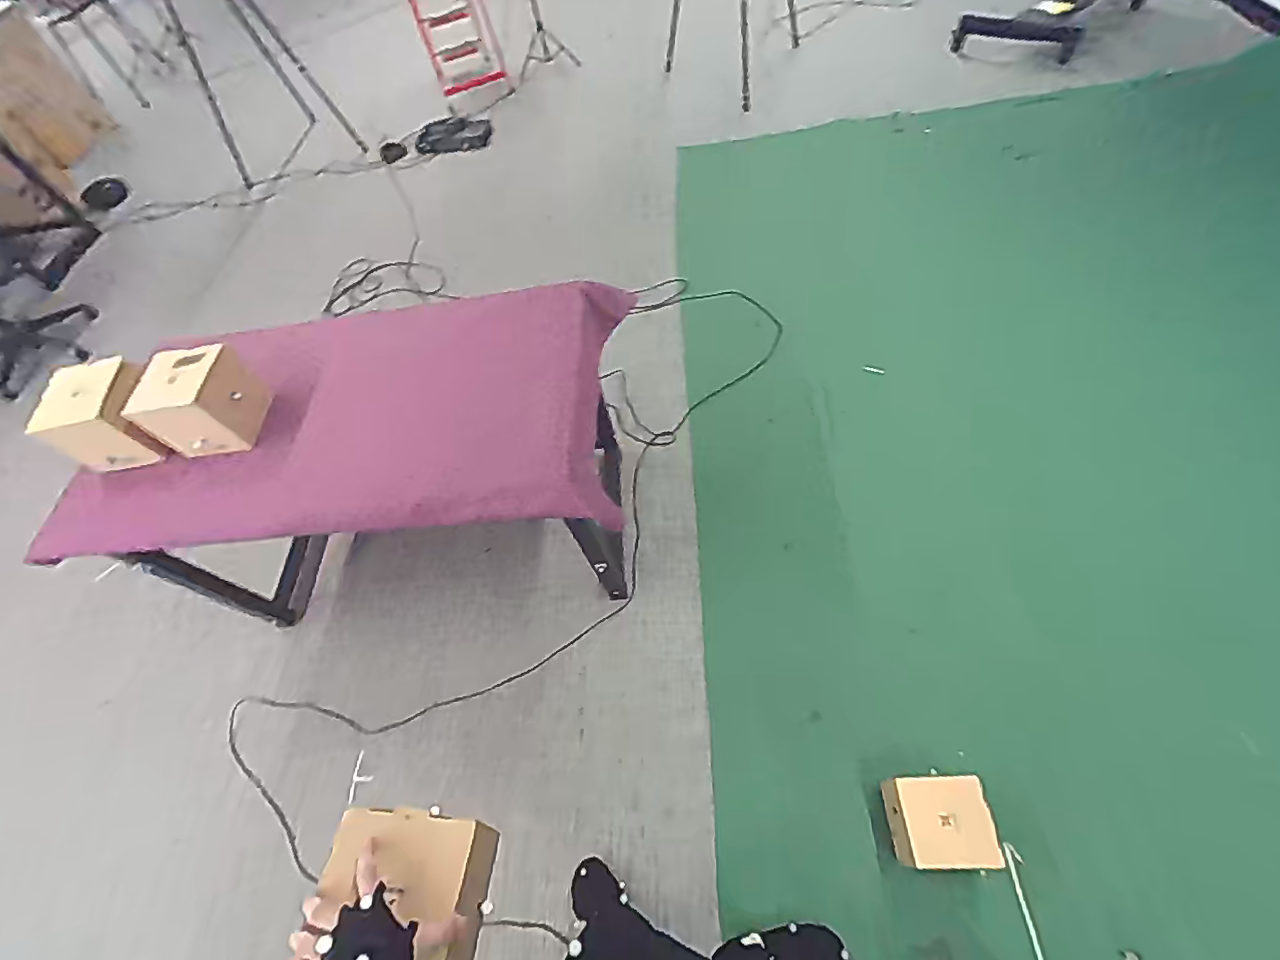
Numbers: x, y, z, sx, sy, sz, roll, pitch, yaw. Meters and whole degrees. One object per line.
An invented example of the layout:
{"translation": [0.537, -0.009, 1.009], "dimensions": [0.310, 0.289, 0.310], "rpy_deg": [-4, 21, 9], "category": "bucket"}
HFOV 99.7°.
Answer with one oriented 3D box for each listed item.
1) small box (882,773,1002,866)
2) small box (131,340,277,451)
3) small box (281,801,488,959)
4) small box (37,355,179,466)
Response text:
{"translation": [0.655, 0.754, 1.202], "dimensions": [0.179, 0.176, 0.168], "rpy_deg": [-5, 57, 7], "category": "small box"}
{"translation": [-0.976, -0.189, 1.231], "dimensions": [0.168, 0.176, 0.179], "rpy_deg": [-6, 59, 7], "category": "small box"}
{"translation": [-0.301, 0.524, 0.680], "dimensions": [0.168, 0.176, 0.179], "rpy_deg": [5, 53, 2], "category": "small box"}
{"translation": [-1.200, -0.157, 1.254], "dimensions": [0.168, 0.176, 0.179], "rpy_deg": [-10, 58, 5], "category": "small box"}
